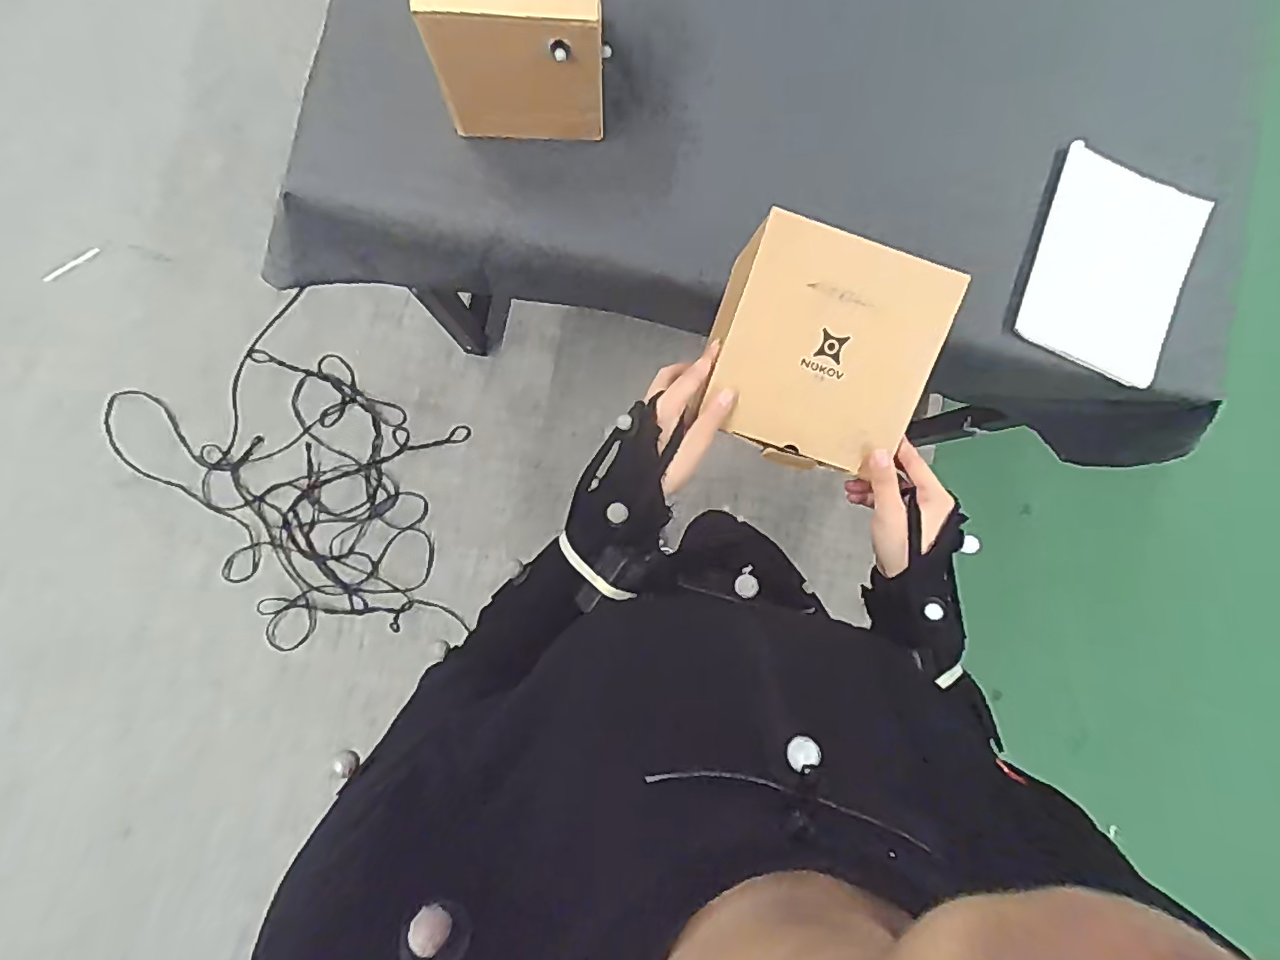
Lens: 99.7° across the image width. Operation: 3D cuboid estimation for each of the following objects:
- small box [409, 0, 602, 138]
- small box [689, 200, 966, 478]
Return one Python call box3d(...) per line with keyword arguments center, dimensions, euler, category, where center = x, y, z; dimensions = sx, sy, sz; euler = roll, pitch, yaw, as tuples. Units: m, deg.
box3d(center=(-0.131, -0.502, 0.581), dimensions=(0.179, 0.176, 0.168), euler=(-1, 86, -5), category="small box")
box3d(center=(0.149, -0.120, 0.503), dimensions=(0.168, 0.176, 0.179), euler=(18, 99, -3), category="small box")
